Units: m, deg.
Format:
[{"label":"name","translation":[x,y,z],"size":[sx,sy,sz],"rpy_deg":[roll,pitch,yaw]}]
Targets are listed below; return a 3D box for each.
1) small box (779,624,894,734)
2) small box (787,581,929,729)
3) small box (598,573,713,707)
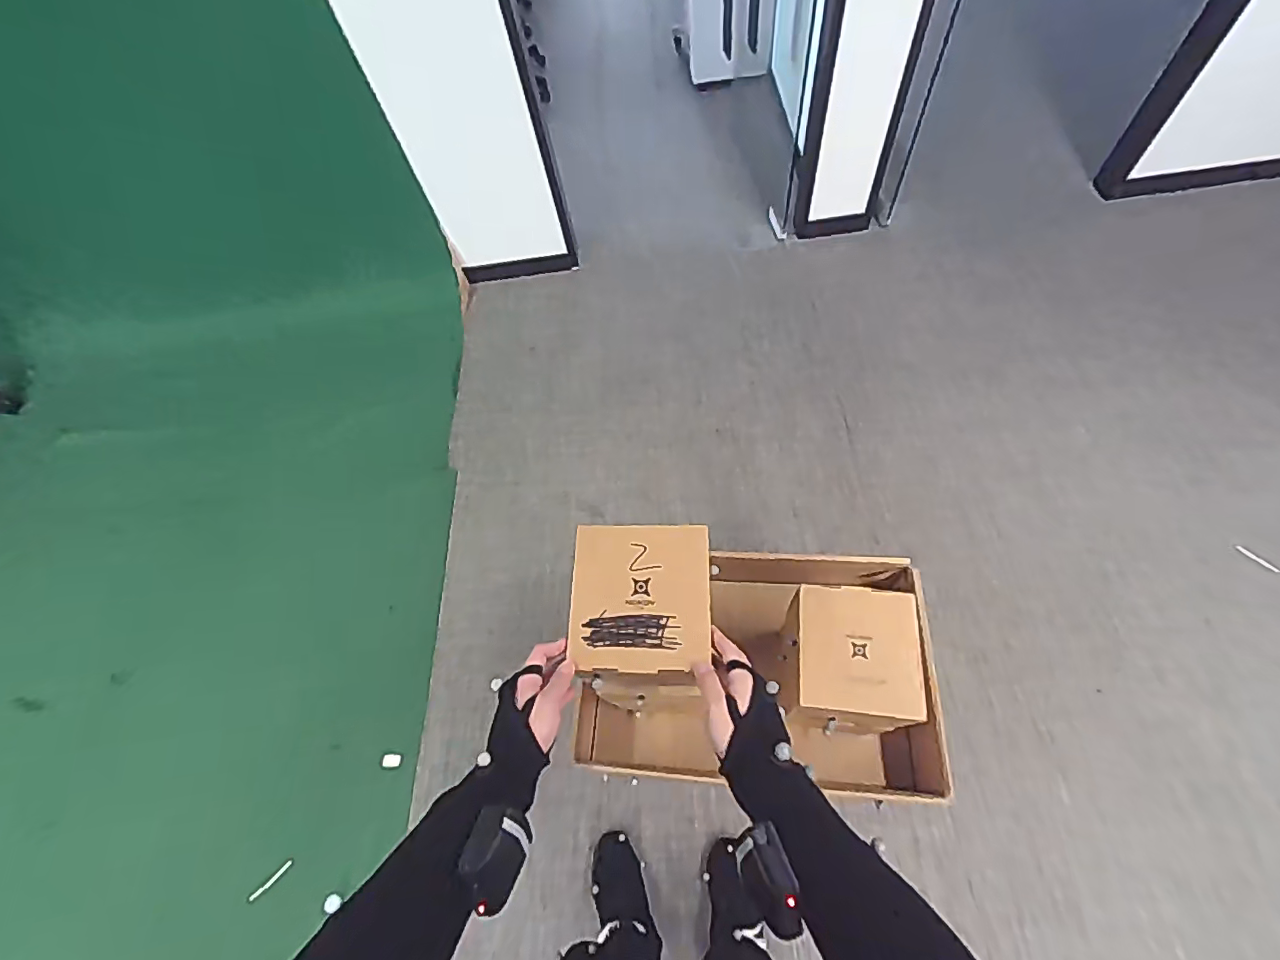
[{"label":"small box","translation":[0.344,0.348,0.972],"size":[0.168,0.176,0.179],"rpy_deg":[5,63,10]},{"label":"small box","translation":[0.321,0.272,0.829],"size":[0.168,0.176,0.179],"rpy_deg":[4,63,10]},{"label":"small box","translation":[0.032,0.260,0.871],"size":[0.168,0.176,0.179],"rpy_deg":[-1,62,7]}]
